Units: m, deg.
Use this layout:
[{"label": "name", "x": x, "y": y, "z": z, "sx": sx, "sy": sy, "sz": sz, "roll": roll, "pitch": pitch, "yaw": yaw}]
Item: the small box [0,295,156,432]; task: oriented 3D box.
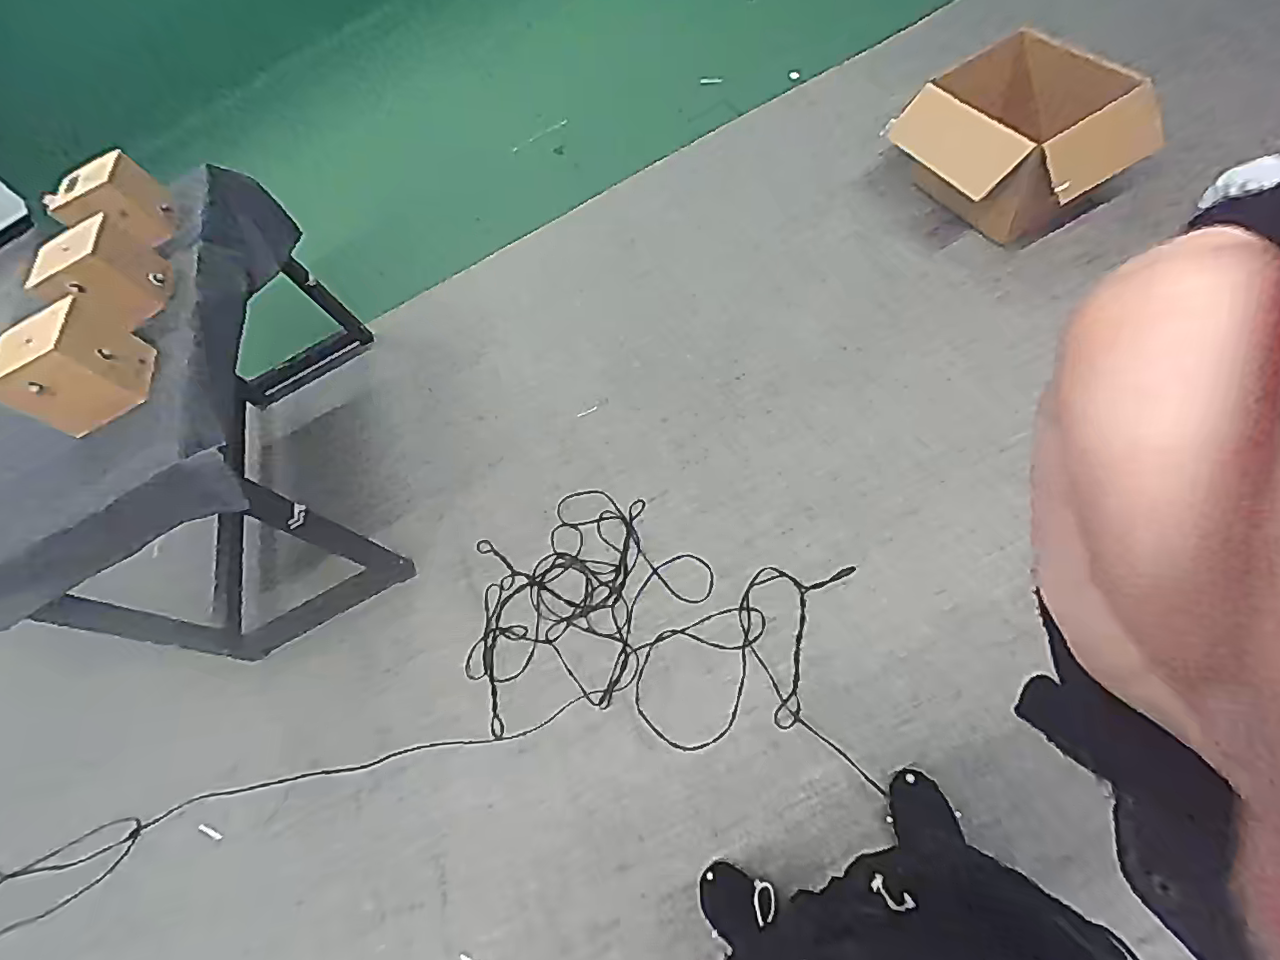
[{"label": "small box", "x": -1.137, "y": -0.229, "z": 1.091, "sx": 0.179, "sy": 0.176, "sz": 0.168, "roll": -26, "pitch": 58, "yaw": 4}]

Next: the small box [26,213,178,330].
[{"label": "small box", "x": -1.233, "y": -0.469, "z": 1.253, "sx": 0.179, "sy": 0.176, "sz": 0.168, "roll": -25, "pitch": 59, "yaw": 3}]
